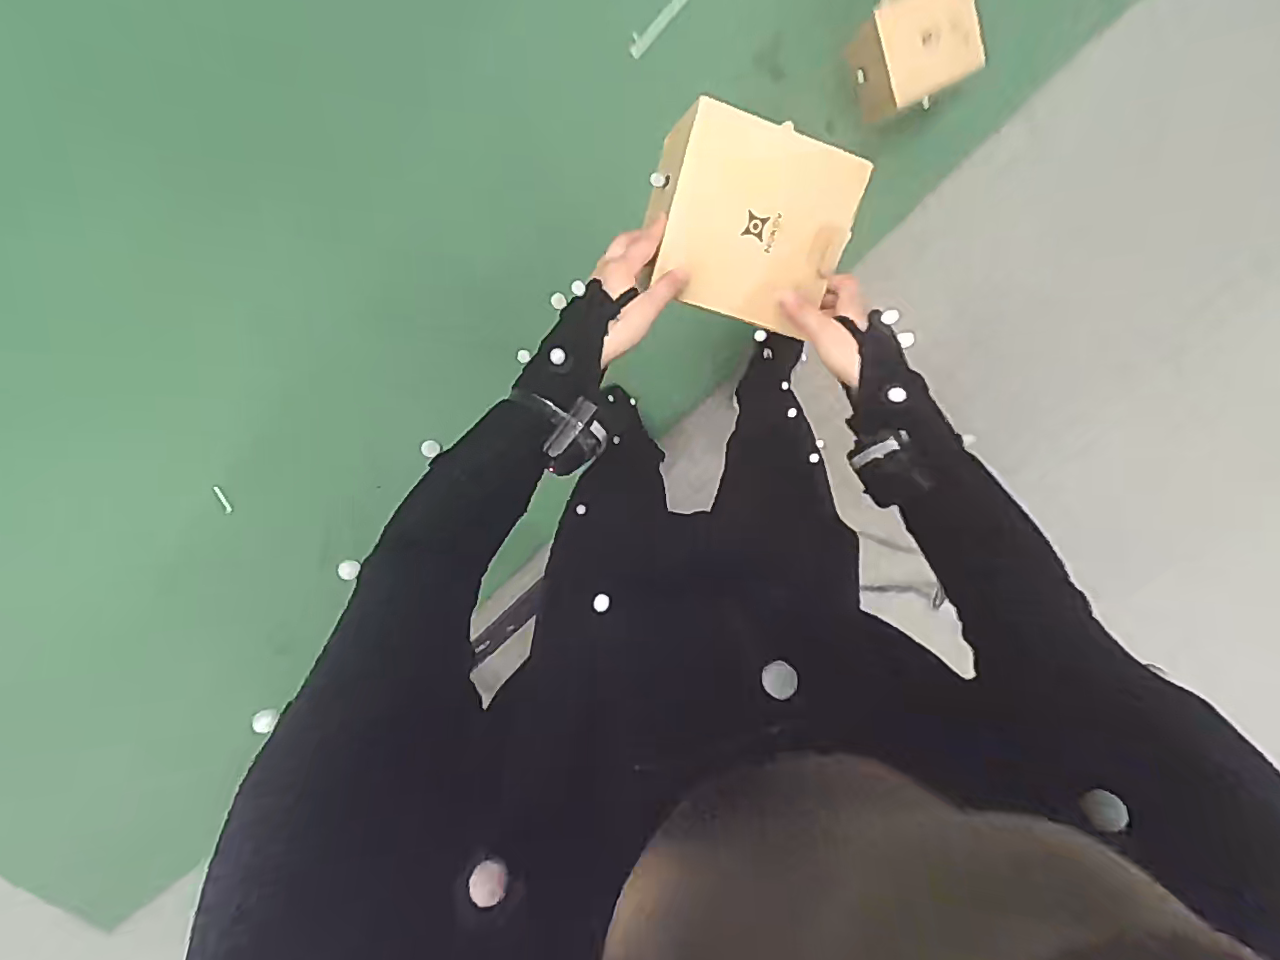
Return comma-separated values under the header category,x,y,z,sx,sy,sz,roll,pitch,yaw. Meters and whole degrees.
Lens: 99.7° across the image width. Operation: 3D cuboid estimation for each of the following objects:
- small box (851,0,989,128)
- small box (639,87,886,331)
category,x,y,z,sx,sy,sz,roll,pitch,yaw
small box,0.538,-0.836,1.068,0.179,0.176,0.168,-24,109,6
small box,0.106,-0.263,0.560,0.179,0.176,0.168,10,110,-13
